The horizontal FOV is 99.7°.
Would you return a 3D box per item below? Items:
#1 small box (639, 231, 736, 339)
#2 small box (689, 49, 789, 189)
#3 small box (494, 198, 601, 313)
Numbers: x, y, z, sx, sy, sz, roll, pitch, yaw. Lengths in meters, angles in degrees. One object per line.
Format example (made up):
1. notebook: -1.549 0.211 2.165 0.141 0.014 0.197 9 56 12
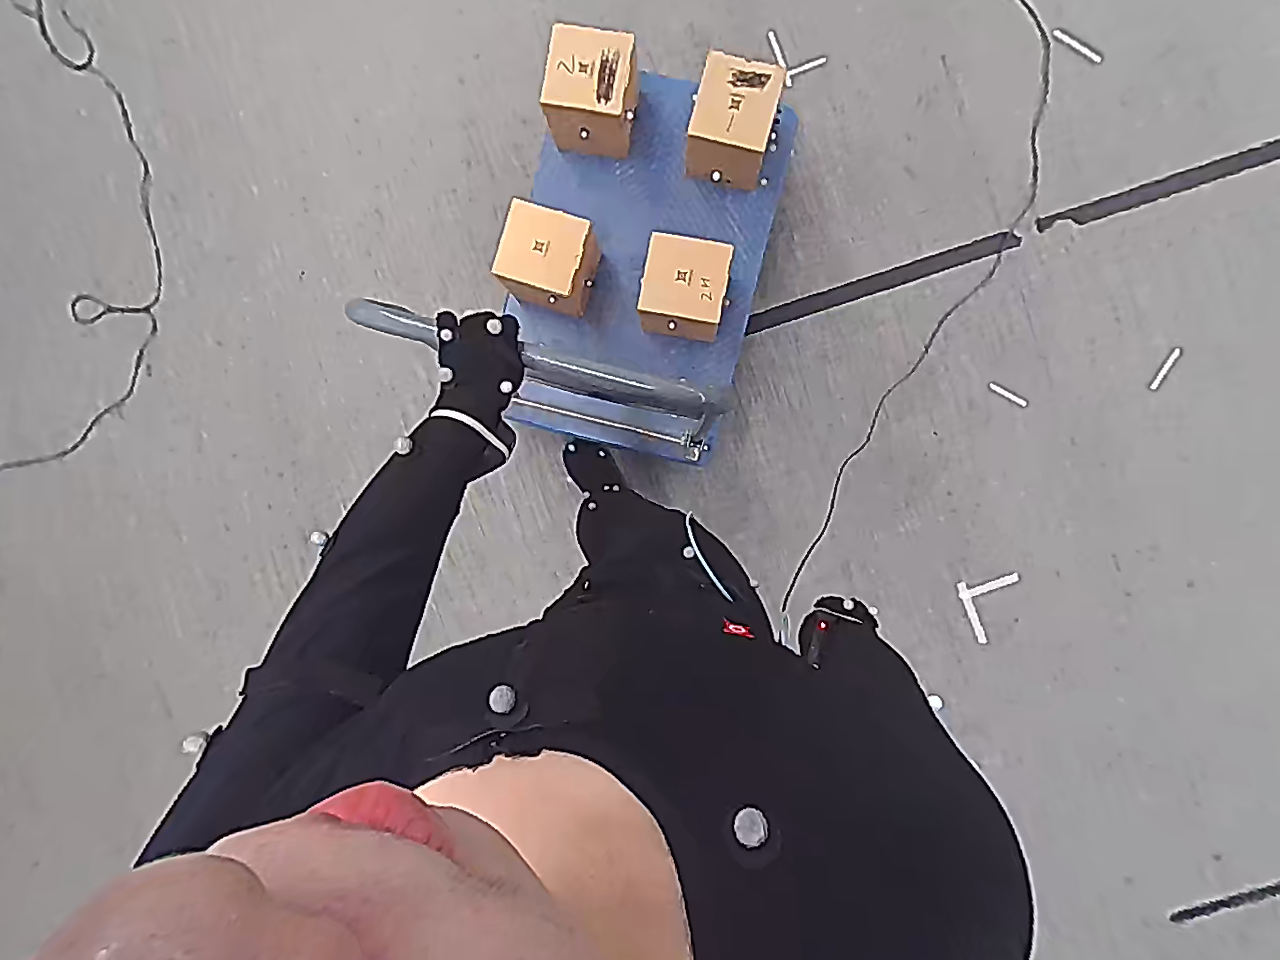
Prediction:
1. small box: 0.102 -0.423 1.195 0.179 0.176 0.168 11 92 3
2. small box: 0.205 -0.778 1.181 0.168 0.176 0.179 15 93 3
3. small box: -0.199 -0.492 1.212 0.179 0.176 0.168 17 92 1
